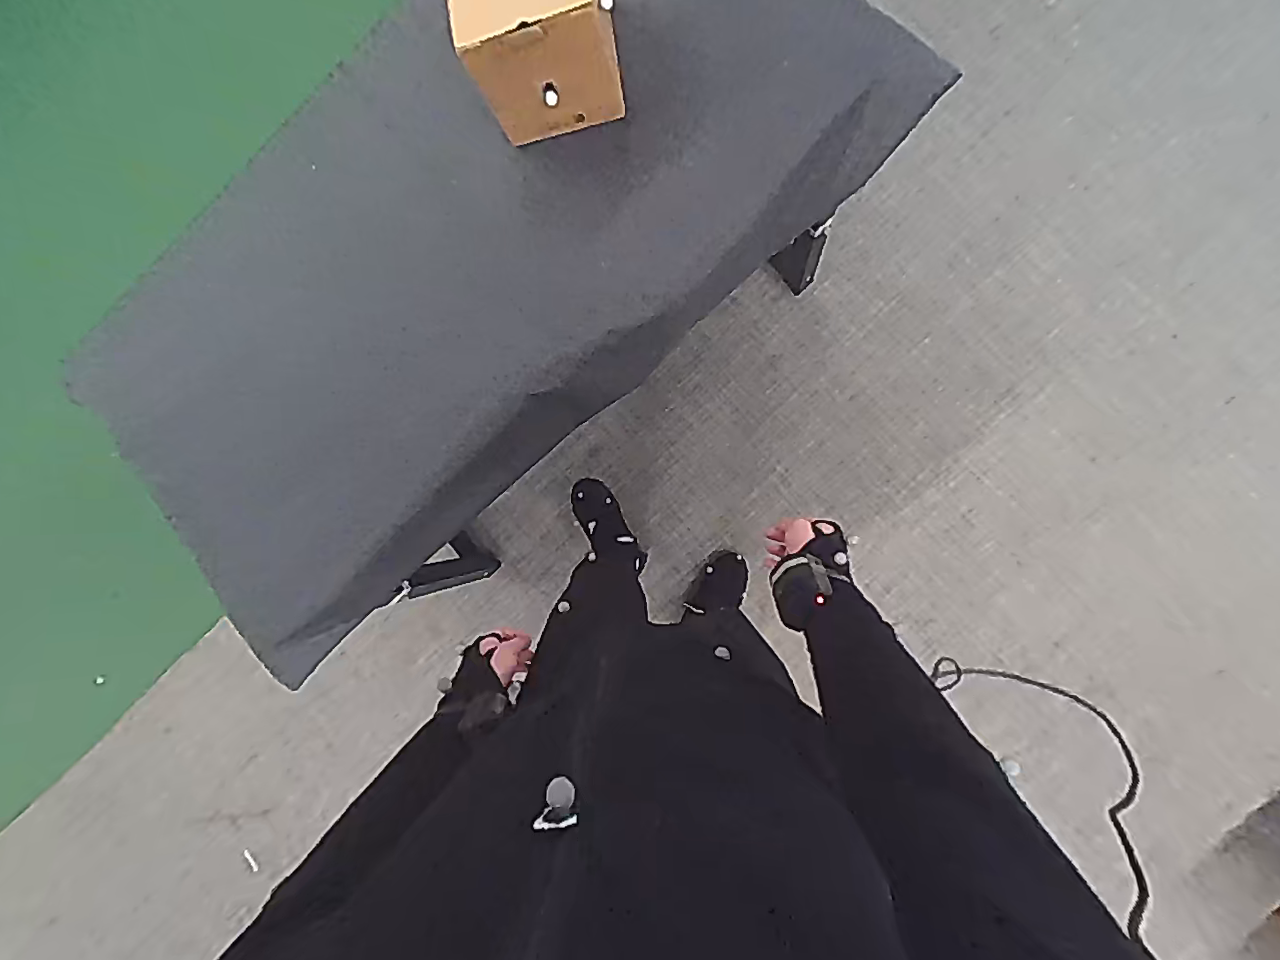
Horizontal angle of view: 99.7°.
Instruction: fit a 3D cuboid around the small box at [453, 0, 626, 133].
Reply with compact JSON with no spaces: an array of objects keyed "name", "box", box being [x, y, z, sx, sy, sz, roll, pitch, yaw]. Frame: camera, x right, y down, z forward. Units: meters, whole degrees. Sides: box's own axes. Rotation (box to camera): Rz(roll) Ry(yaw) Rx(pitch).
[{"name":"small box","box":[-0.121,-0.573,0.676,0.168,0.176,0.179,-9,87,9]}]
